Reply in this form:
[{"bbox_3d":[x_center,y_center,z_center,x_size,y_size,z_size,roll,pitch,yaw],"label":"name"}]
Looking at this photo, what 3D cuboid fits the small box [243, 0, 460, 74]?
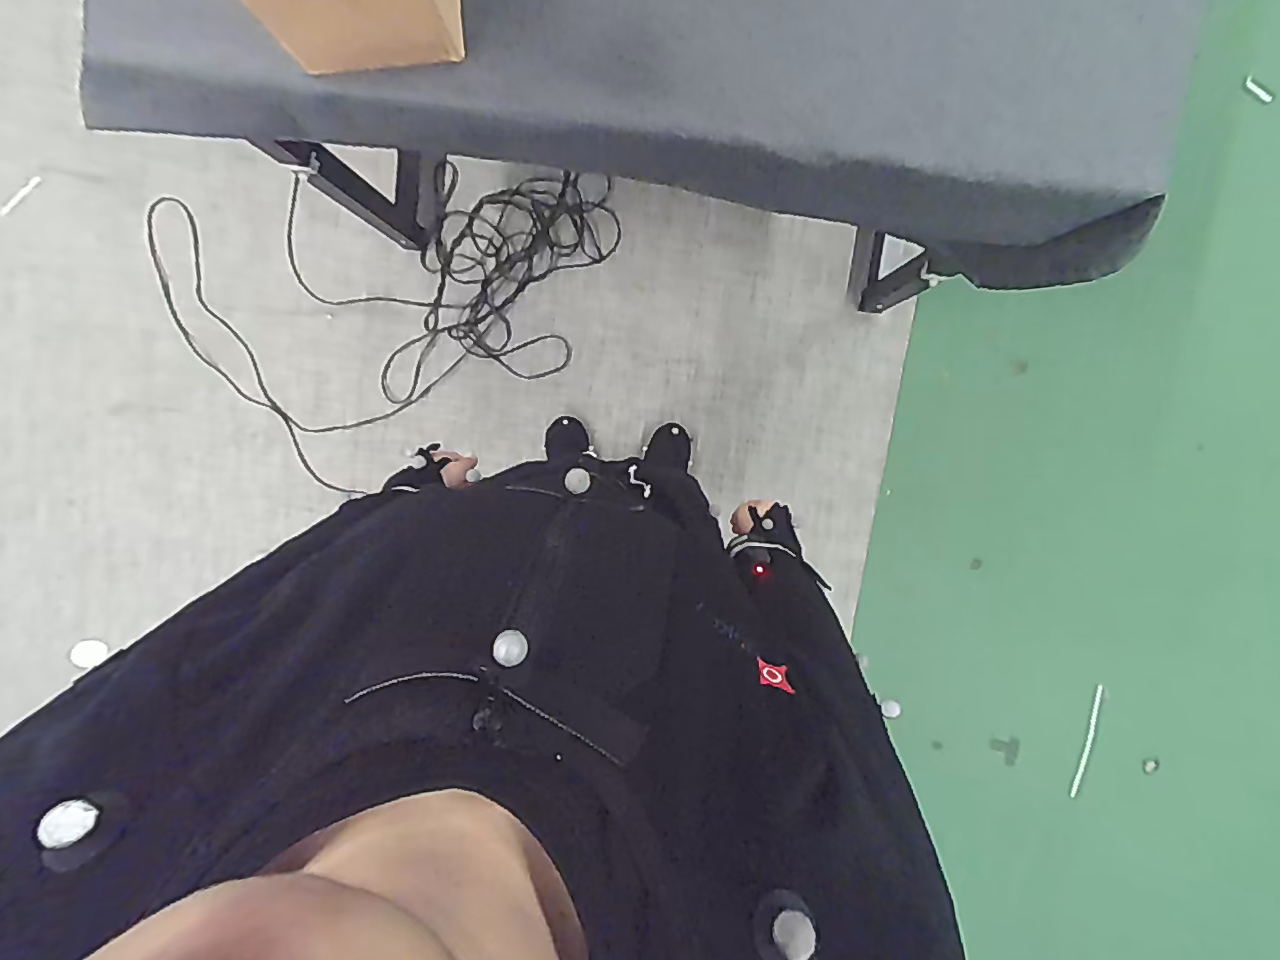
[{"bbox_3d":[-0.280,-0.523,0.508,0.179,0.176,0.168,-4,95,2],"label":"small box"}]
